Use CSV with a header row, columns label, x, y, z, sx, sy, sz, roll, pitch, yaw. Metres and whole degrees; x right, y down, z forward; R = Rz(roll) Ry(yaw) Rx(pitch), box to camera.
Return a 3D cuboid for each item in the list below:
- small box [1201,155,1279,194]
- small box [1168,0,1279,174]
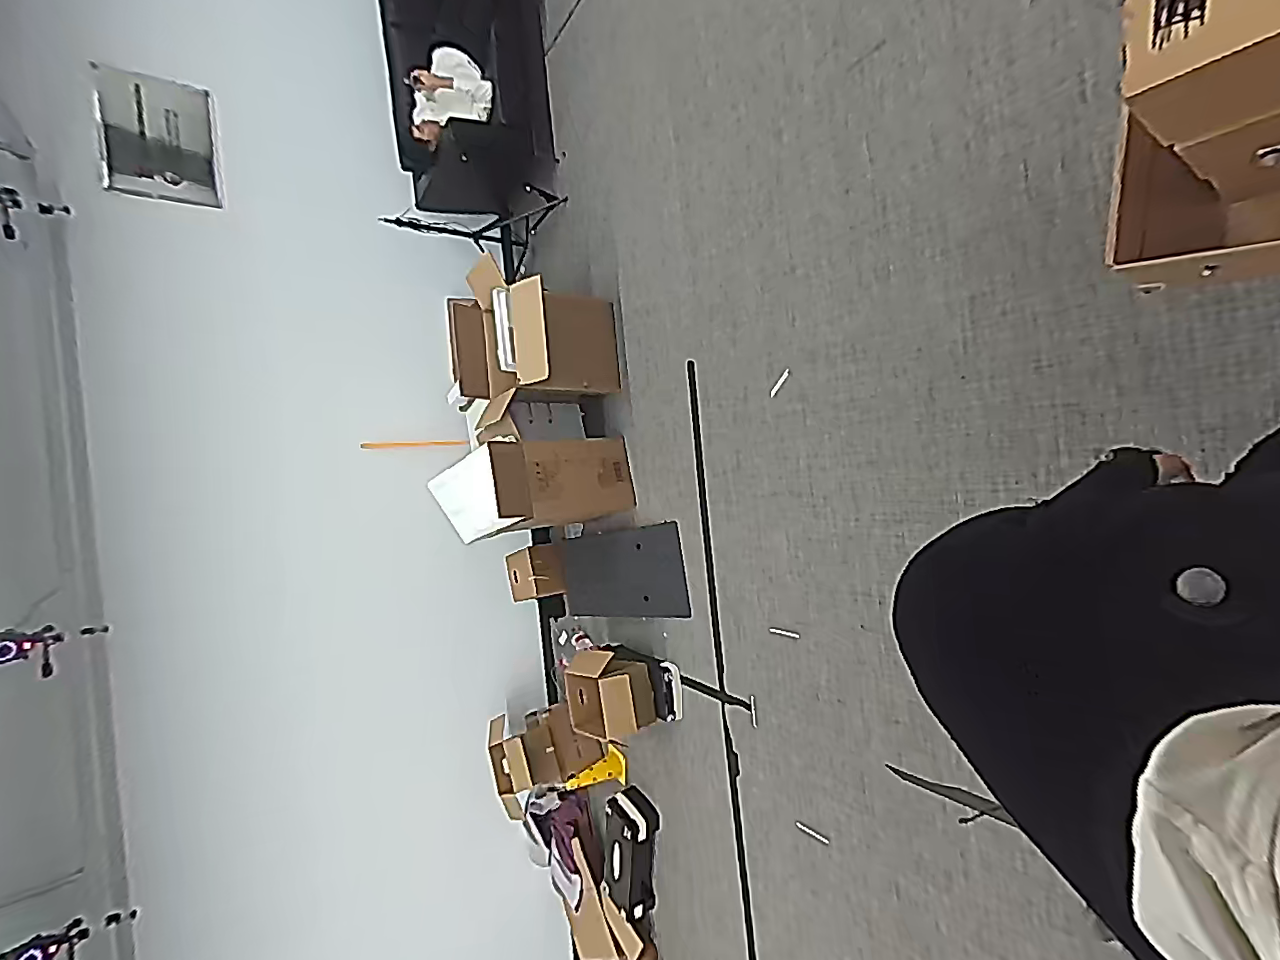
label,x,y,z,sx,sy,sz,roll,pitch,yaw
small box,0.900,-0.510,0.725,0.179,0.176,0.168,5,99,54
small box,0.761,-0.500,0.639,0.168,0.176,0.179,1,95,57
